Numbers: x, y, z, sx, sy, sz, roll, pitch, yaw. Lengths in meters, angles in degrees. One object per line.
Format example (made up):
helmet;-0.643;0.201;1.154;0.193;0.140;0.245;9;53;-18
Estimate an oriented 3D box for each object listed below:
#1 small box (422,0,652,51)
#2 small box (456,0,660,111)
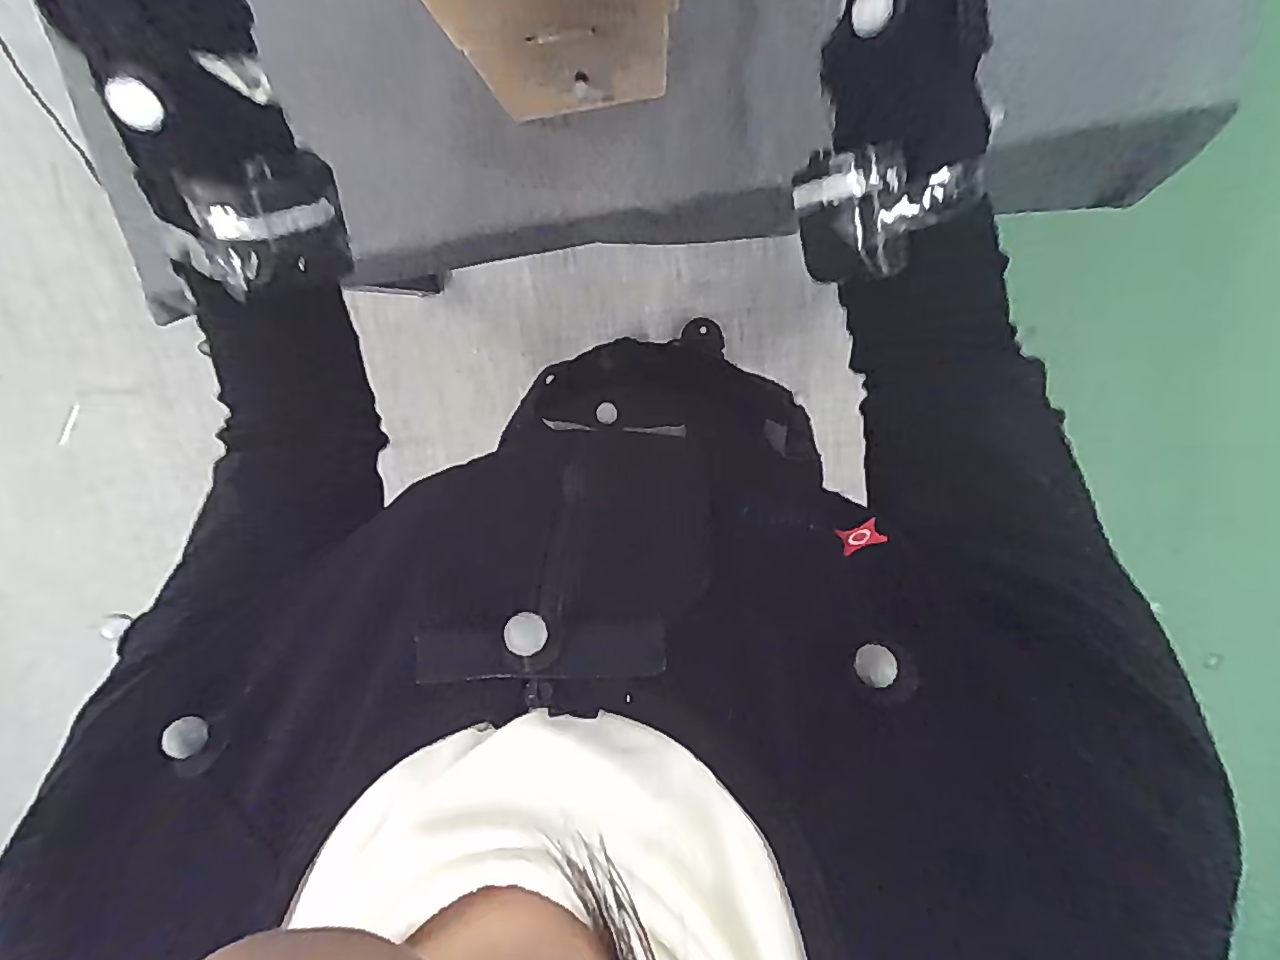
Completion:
small box;-0.073;-0.400;0.321;0.179;0.176;0.168;-10;106;4
small box;-0.073;-0.454;0.477;0.168;0.176;0.179;-7;107;4
